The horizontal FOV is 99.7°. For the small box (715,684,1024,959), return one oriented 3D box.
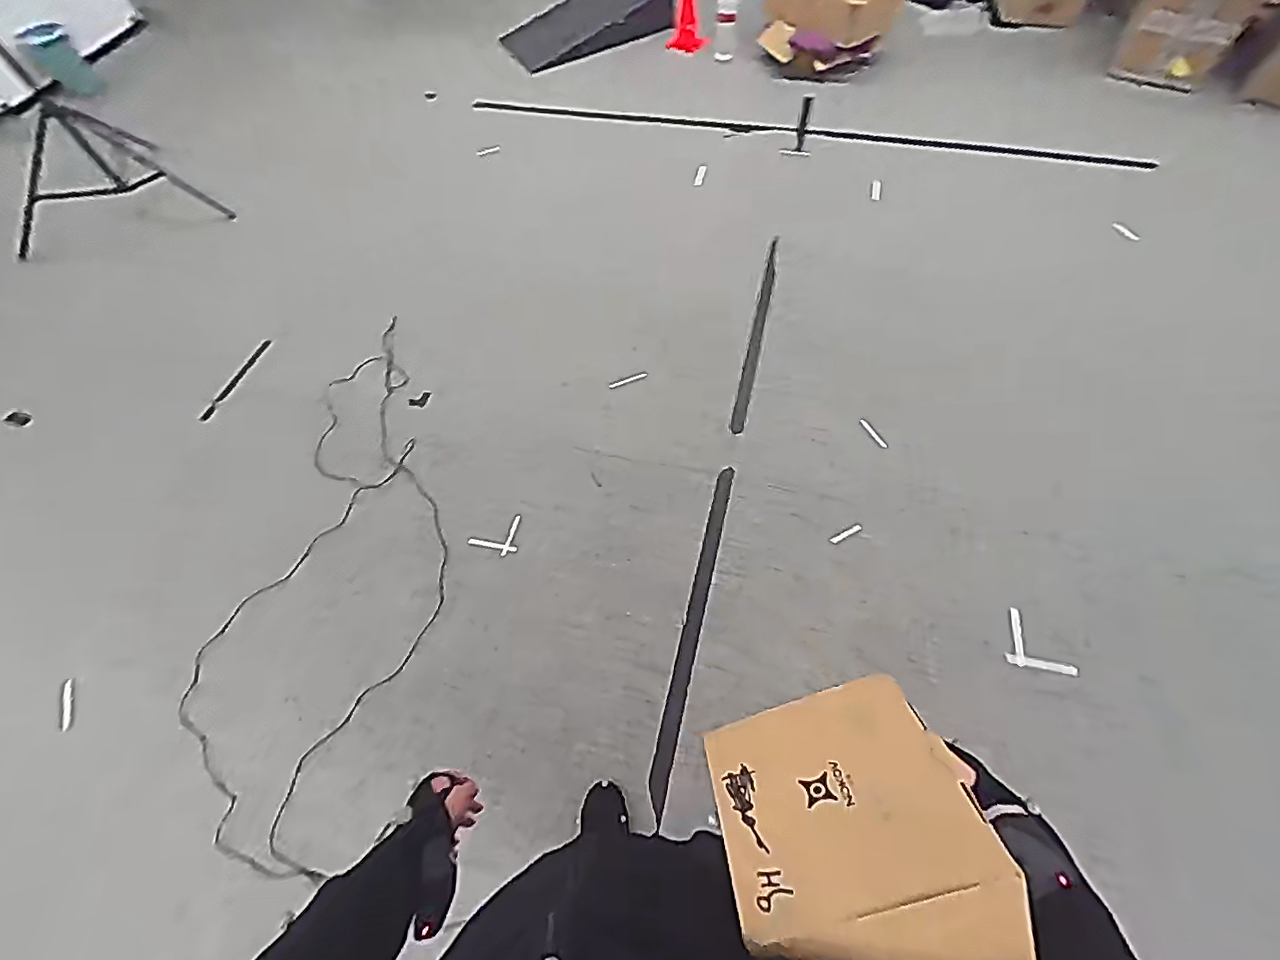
[{"bbox_3d":[0.178,0.309,0.445,0.179,0.176,0.168,-19,22,6],"label":"small box"}]
